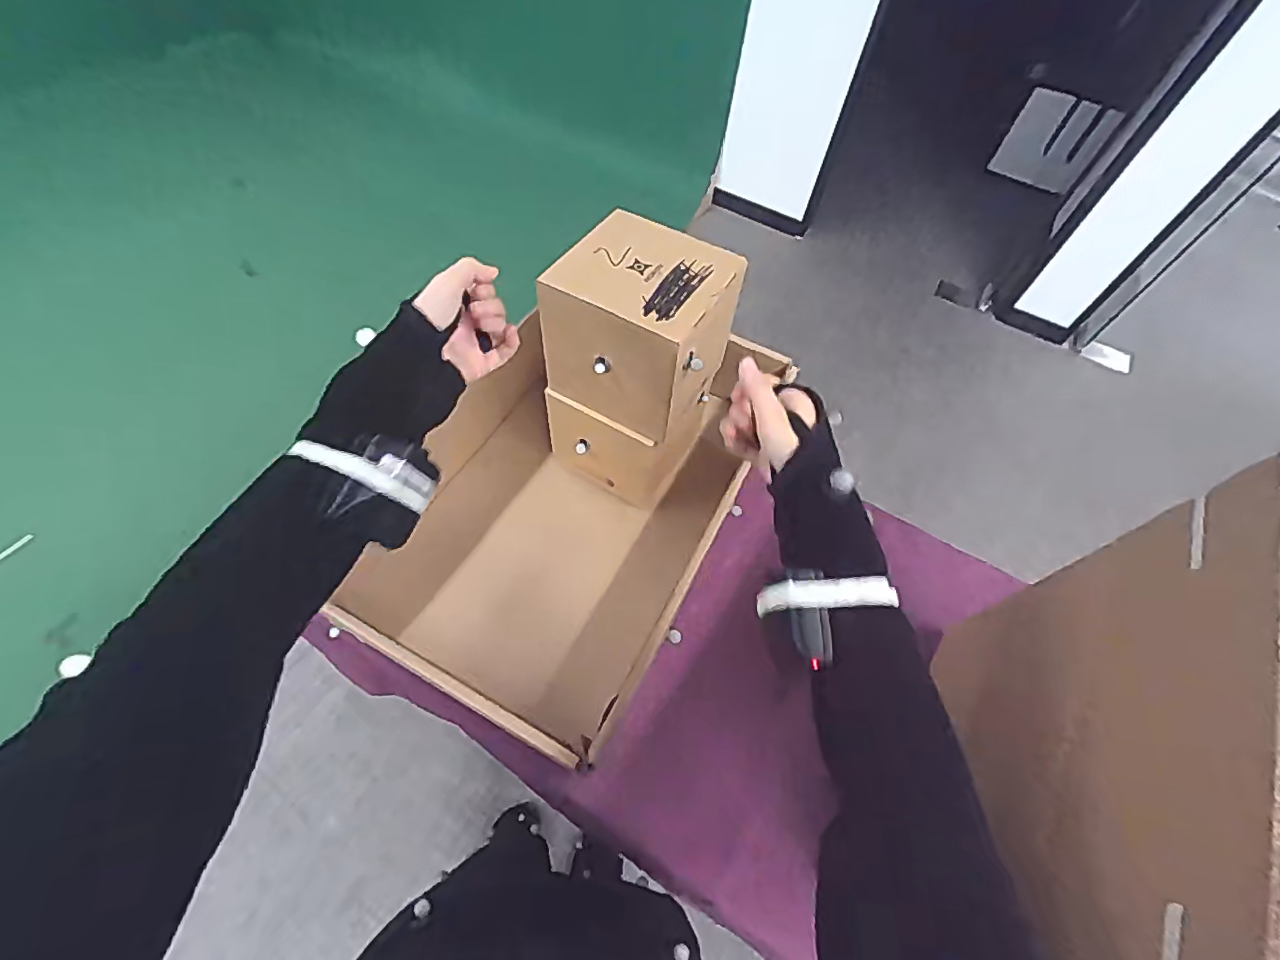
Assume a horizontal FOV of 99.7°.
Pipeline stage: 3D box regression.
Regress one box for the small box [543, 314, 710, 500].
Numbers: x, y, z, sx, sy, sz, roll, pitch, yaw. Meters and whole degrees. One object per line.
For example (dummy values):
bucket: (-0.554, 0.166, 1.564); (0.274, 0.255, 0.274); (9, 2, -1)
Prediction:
small box: (-0.017, -0.100, 0.792); (0.168, 0.176, 0.179); (28, 60, 14)
